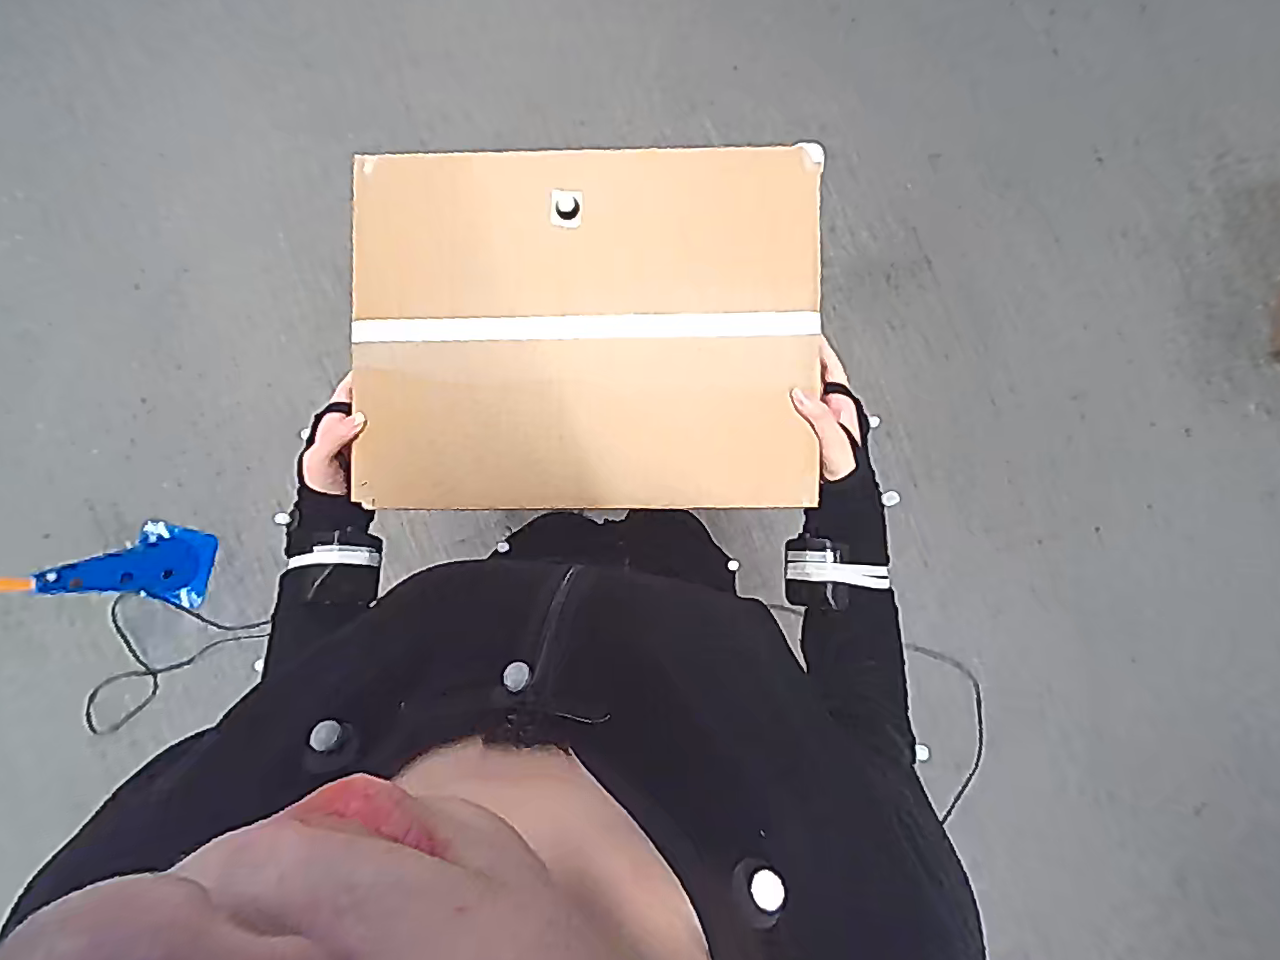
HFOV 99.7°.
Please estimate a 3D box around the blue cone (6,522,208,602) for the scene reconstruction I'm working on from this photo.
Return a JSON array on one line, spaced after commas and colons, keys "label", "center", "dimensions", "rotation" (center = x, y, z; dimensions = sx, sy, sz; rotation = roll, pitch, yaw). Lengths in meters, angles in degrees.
[{"label": "blue cone", "center": [-1.228, 0.207, 1.240], "dimensions": [0.193, 0.380, 0.192], "rotation": [12, 87, -2]}]
